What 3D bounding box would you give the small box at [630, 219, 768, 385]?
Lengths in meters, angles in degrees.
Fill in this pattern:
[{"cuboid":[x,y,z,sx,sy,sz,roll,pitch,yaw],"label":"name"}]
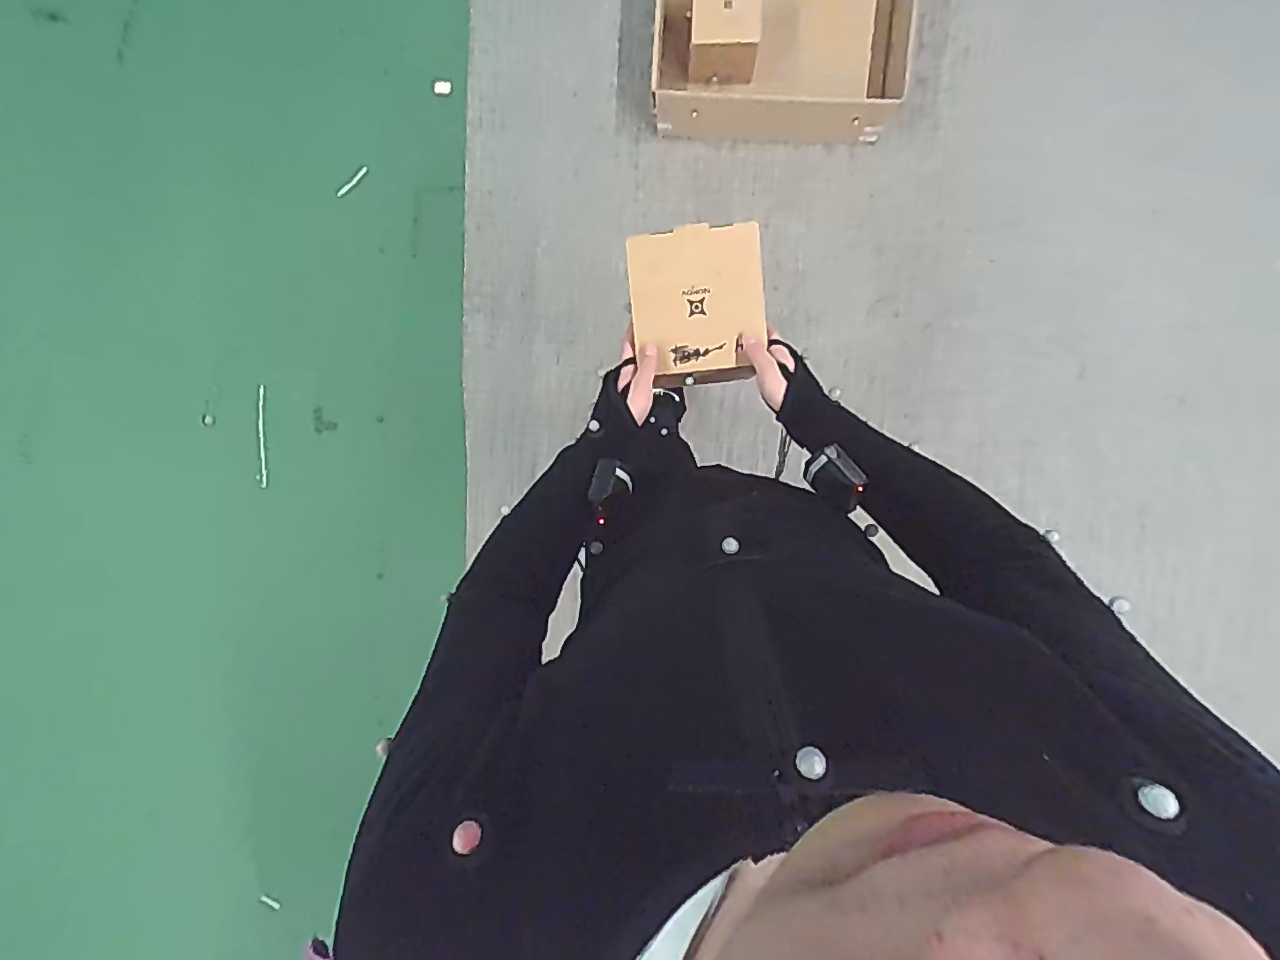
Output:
[{"cuboid":[0.077,-0.233,0.748,0.168,0.176,0.179,-4,95,4],"label":"small box"}]
